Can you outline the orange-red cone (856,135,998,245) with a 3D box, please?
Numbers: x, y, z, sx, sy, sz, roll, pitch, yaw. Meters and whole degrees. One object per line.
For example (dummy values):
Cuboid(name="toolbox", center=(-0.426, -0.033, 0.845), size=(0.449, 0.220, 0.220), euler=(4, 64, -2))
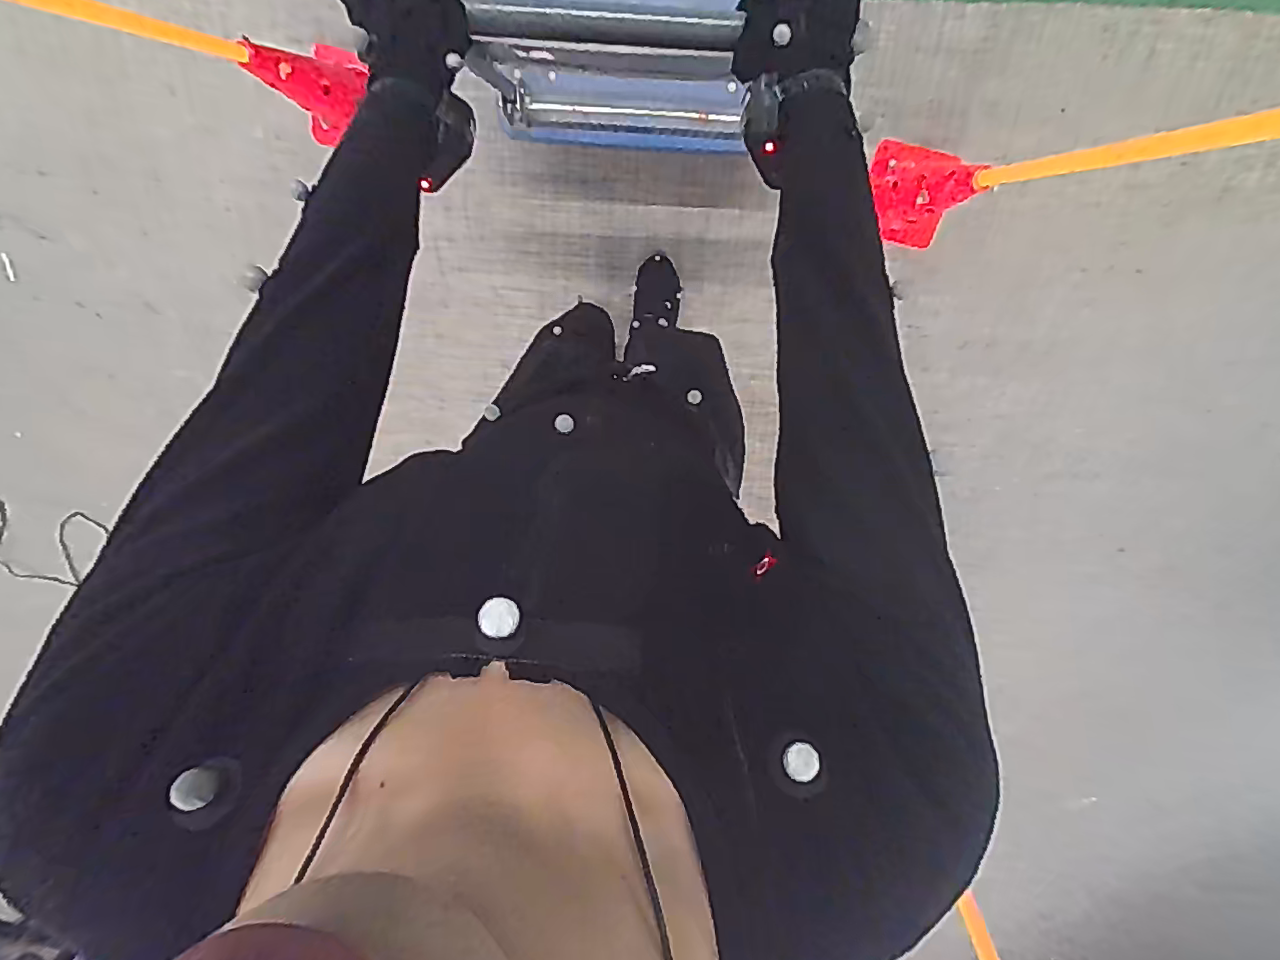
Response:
Cuboid(name="orange-red cone", center=(0.609, -0.597, 1.088), size=(0.198, 0.360, 0.199), euler=(14, 114, -2))
